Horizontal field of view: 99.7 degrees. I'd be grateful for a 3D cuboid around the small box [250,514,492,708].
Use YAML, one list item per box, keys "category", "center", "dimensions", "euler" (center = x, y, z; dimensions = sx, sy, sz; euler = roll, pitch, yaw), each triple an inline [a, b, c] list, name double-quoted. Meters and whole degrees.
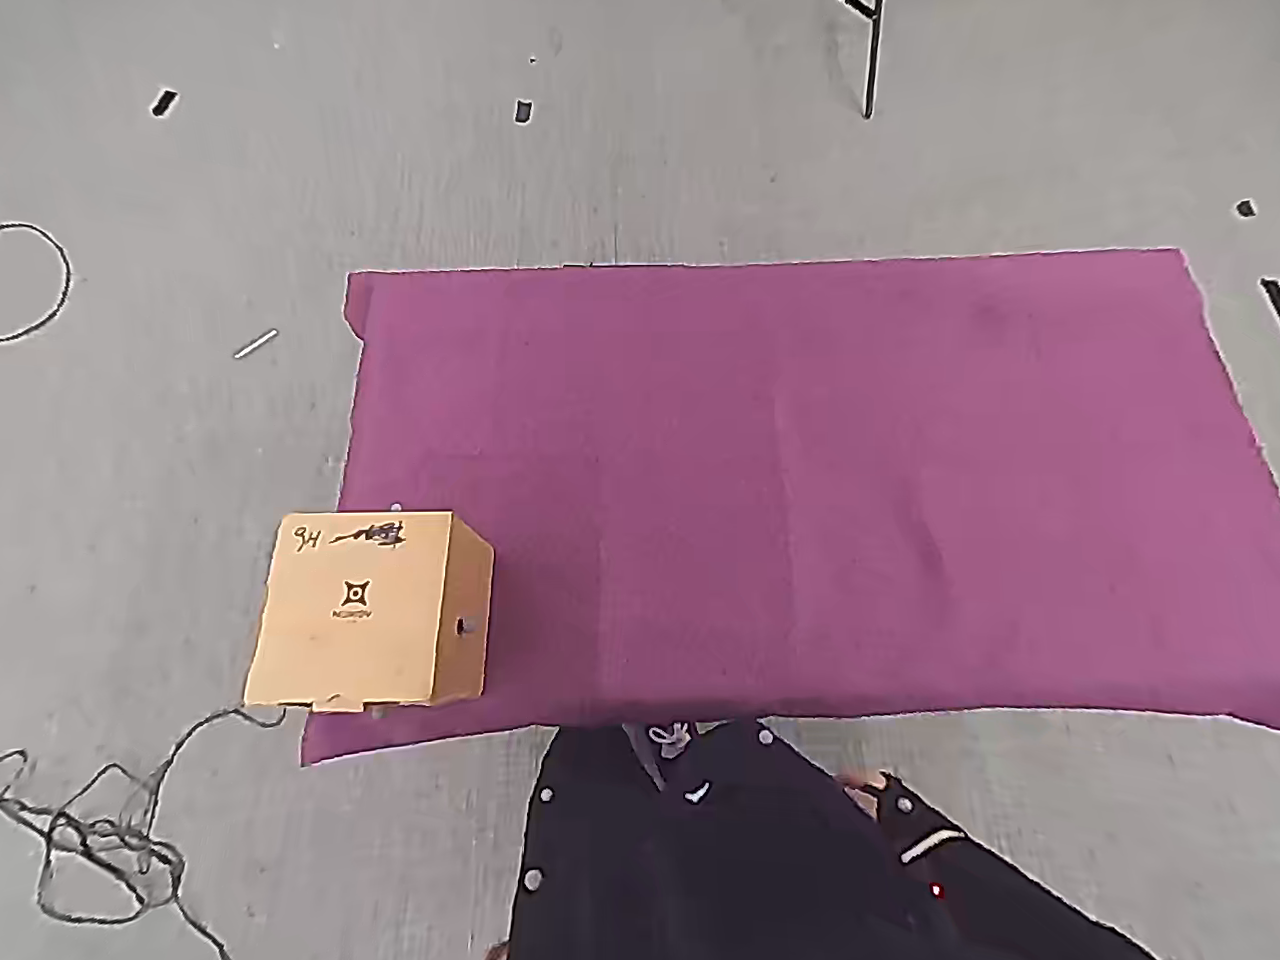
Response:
- category: "small box"
  center: [-0.263, 0.141, 0.577]
  dimensions: [0.168, 0.176, 0.179]
  euler: [-1, 71, -1]
